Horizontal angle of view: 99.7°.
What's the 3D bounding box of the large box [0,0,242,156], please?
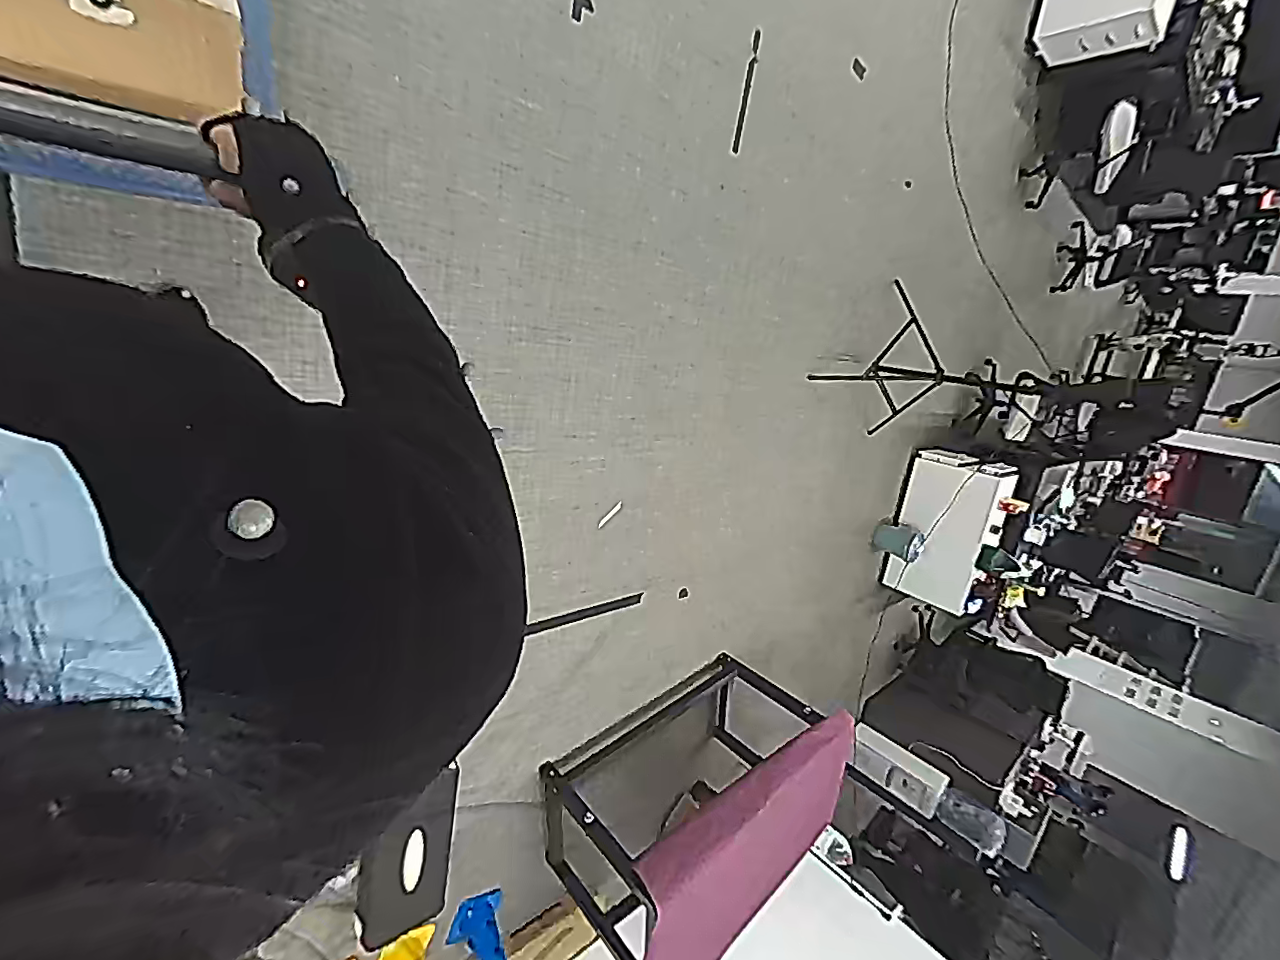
[{"bbox_3d":[-0.803,-0.663,0.703,0.408,0.320,0.320,-9,113,-42],"label":"large box"}]
